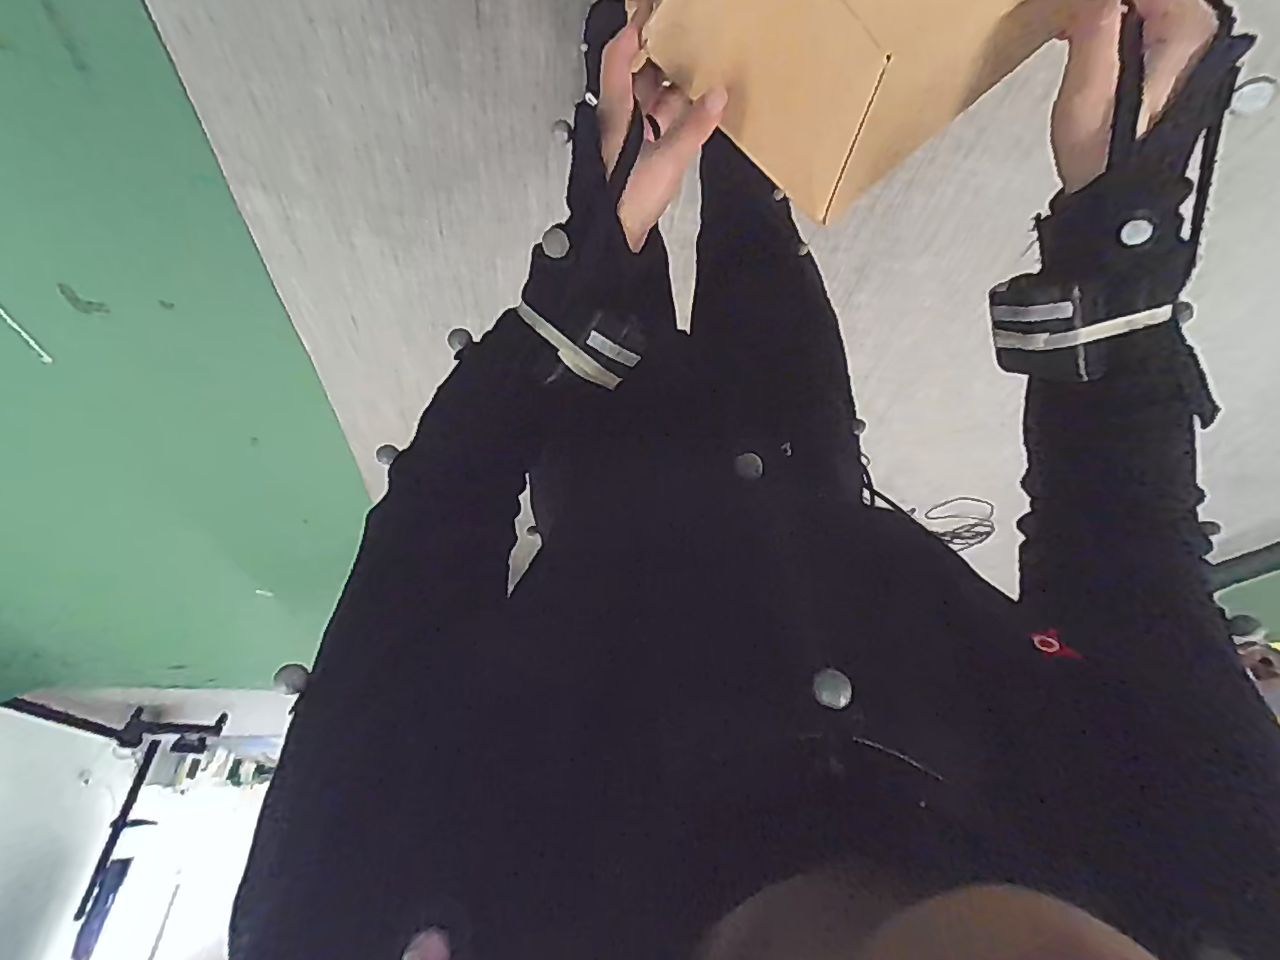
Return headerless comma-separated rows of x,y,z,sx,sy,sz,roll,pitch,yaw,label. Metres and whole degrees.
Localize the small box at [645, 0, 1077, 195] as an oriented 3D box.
0.125,-0.310,0.324,0.168,0.176,0.179,31,145,-23,small box
